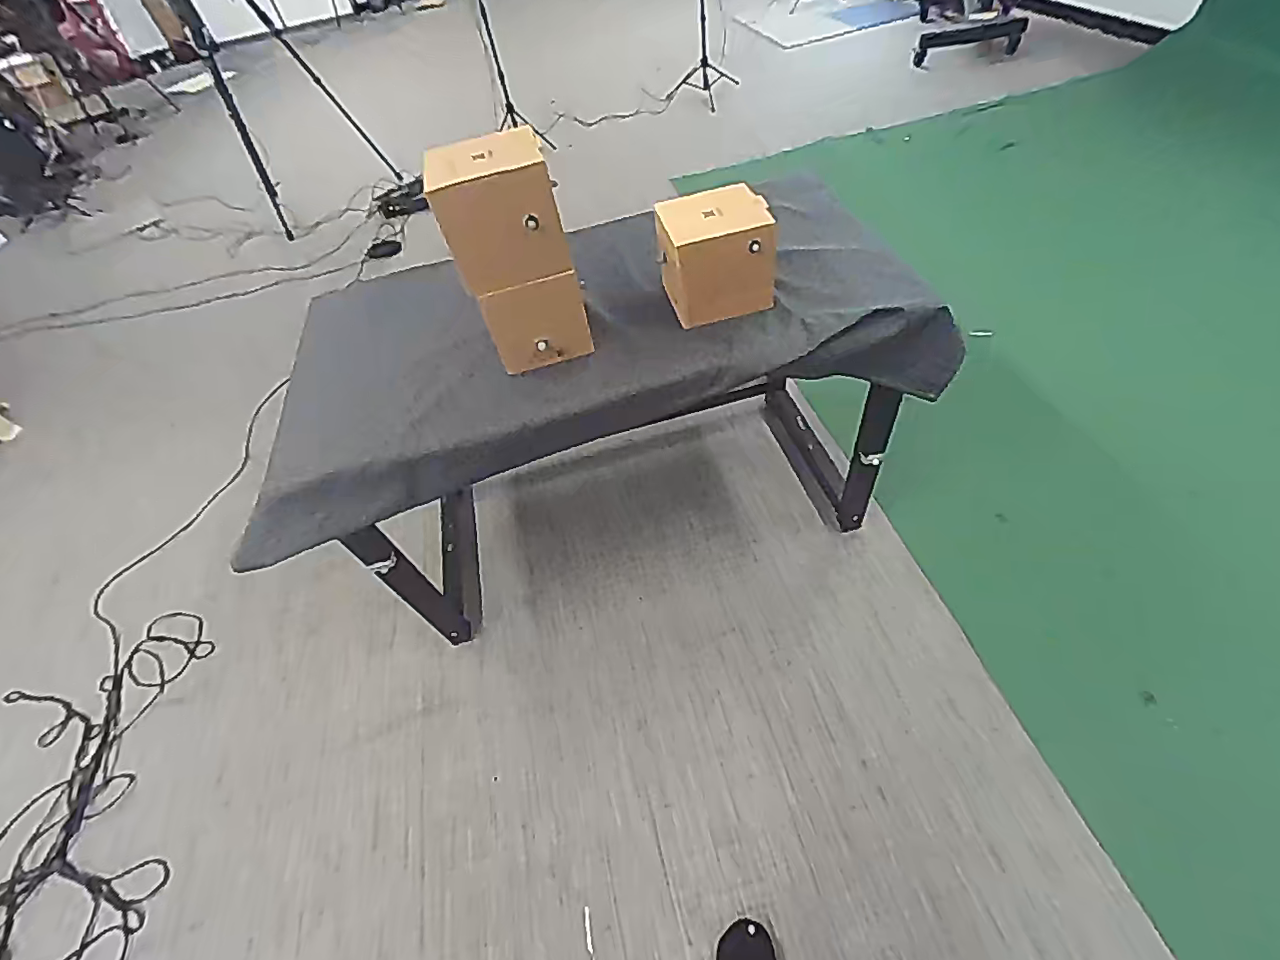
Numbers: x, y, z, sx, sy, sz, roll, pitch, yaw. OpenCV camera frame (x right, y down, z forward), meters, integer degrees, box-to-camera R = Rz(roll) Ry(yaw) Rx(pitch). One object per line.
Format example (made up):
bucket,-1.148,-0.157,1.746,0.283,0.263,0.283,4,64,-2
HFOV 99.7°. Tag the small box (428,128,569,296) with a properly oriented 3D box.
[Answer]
small box,-0.220,-0.425,0.866,0.179,0.176,0.168,-17,50,-3

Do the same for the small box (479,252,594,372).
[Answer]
small box,-0.192,-0.328,0.994,0.168,0.176,0.179,-16,52,-2

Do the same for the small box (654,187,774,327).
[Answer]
small box,0.136,-0.409,1.003,0.179,0.176,0.168,-14,51,-2
